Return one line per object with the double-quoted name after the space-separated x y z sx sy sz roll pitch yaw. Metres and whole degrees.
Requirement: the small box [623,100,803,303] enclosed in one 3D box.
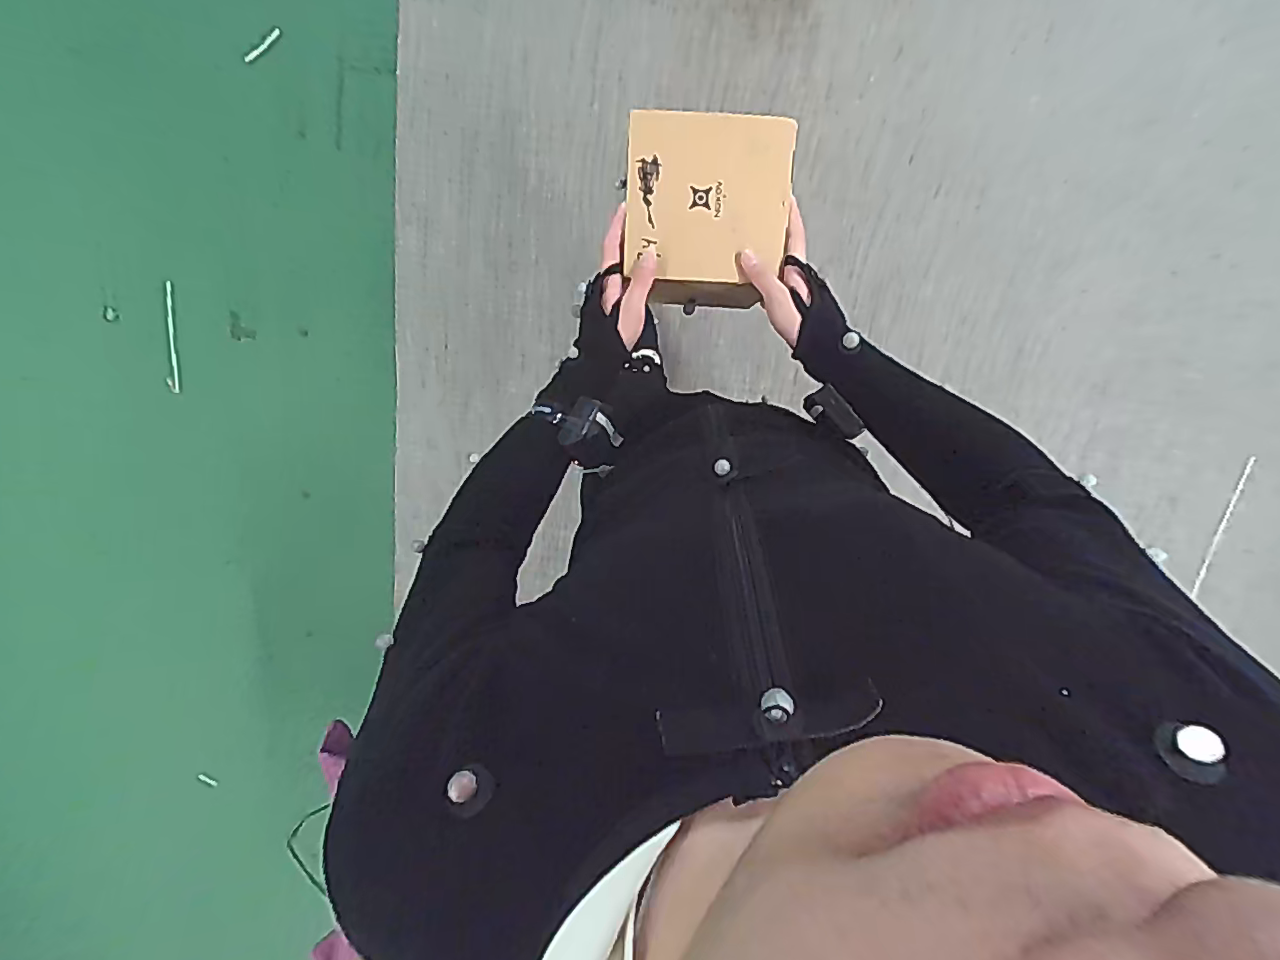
0.073 -0.309 0.639 0.179 0.176 0.168 3 99 -2 "small box"
